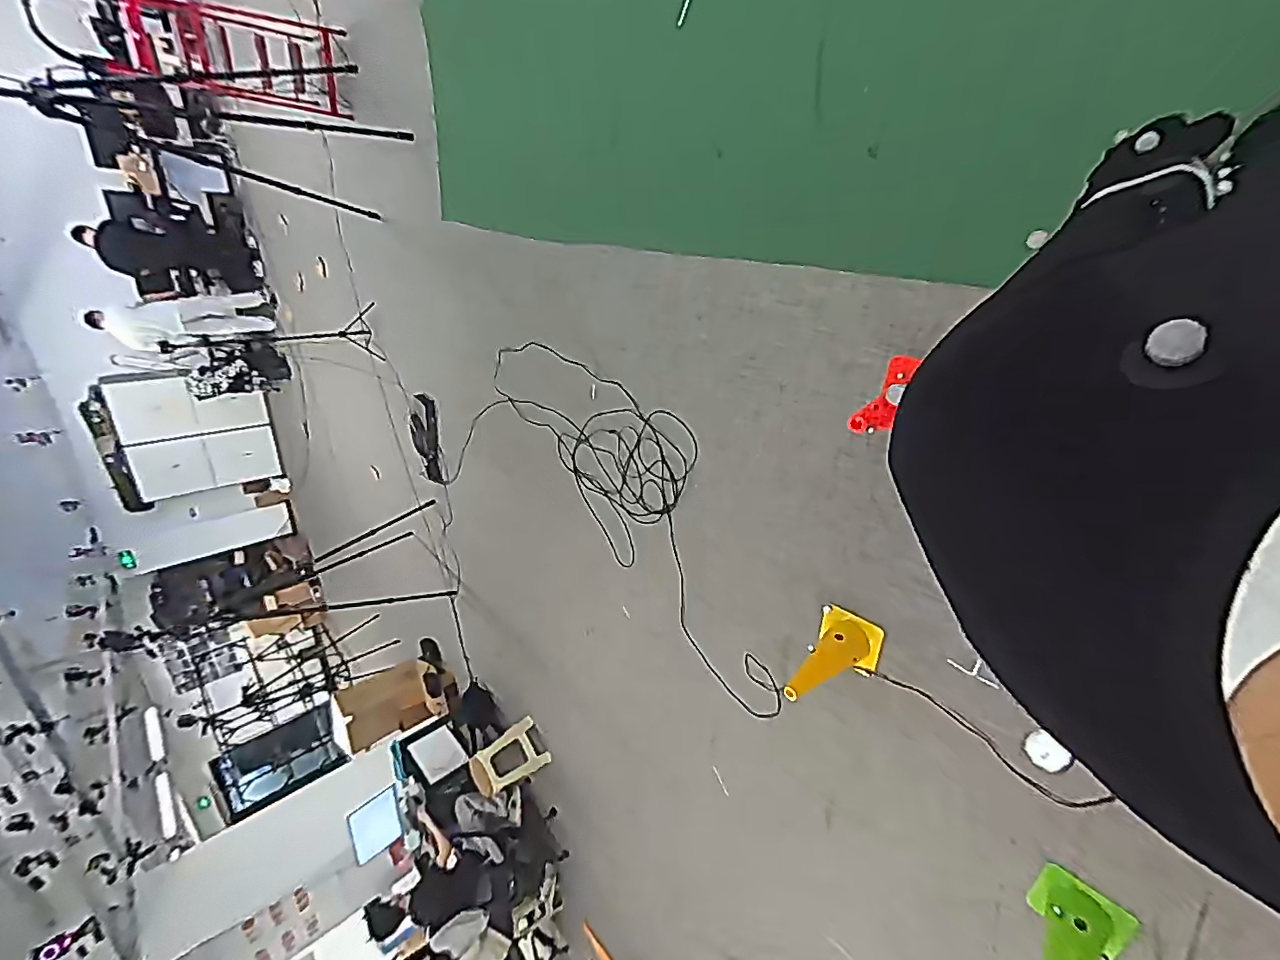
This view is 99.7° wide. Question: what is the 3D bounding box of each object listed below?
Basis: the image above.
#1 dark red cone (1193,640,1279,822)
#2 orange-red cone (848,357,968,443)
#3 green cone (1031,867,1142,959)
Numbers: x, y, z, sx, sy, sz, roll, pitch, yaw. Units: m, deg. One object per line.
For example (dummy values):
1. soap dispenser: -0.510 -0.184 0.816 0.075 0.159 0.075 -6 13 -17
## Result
1. dark red cone: 1.124 0.467 0.953 0.202 0.394 0.201 21 119 43
2. orange-red cone: 0.614 -0.167 1.320 0.198 0.360 0.199 28 126 40
3. green cone: 1.068 1.214 1.350 0.202 0.368 0.200 26 123 42
